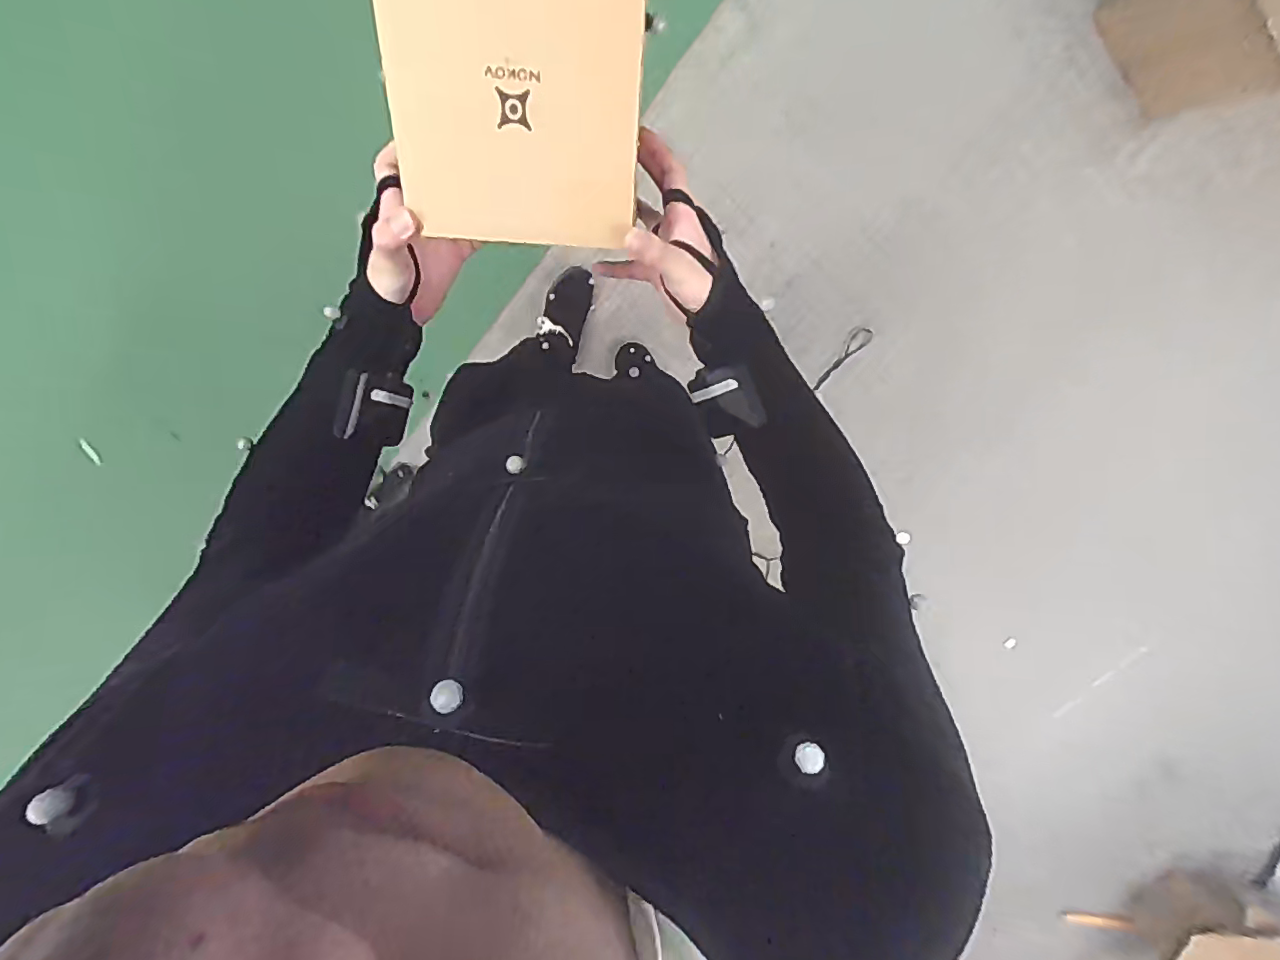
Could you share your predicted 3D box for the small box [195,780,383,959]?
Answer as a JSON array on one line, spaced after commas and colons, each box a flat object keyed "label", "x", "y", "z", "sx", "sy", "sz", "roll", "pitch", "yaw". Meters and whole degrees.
[{"label": "small box", "x": -0.543, "y": 0.624, "z": 0.866, "sx": 0.168, "sy": 0.176, "sz": 0.179, "roll": 36, "pitch": 108, "yaw": -17}]

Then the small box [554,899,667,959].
[{"label": "small box", "x": -0.058, "y": 0.936, "z": 1.010, "sx": 0.168, "sy": 0.176, "sz": 0.179, "roll": 36, "pitch": 105, "yaw": -14}]

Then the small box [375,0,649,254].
[{"label": "small box", "x": -0.082, "y": -0.292, "z": 0.423, "sx": 0.168, "sy": 0.176, "sz": 0.179, "roll": 4, "pitch": 123, "yaw": -2}]
